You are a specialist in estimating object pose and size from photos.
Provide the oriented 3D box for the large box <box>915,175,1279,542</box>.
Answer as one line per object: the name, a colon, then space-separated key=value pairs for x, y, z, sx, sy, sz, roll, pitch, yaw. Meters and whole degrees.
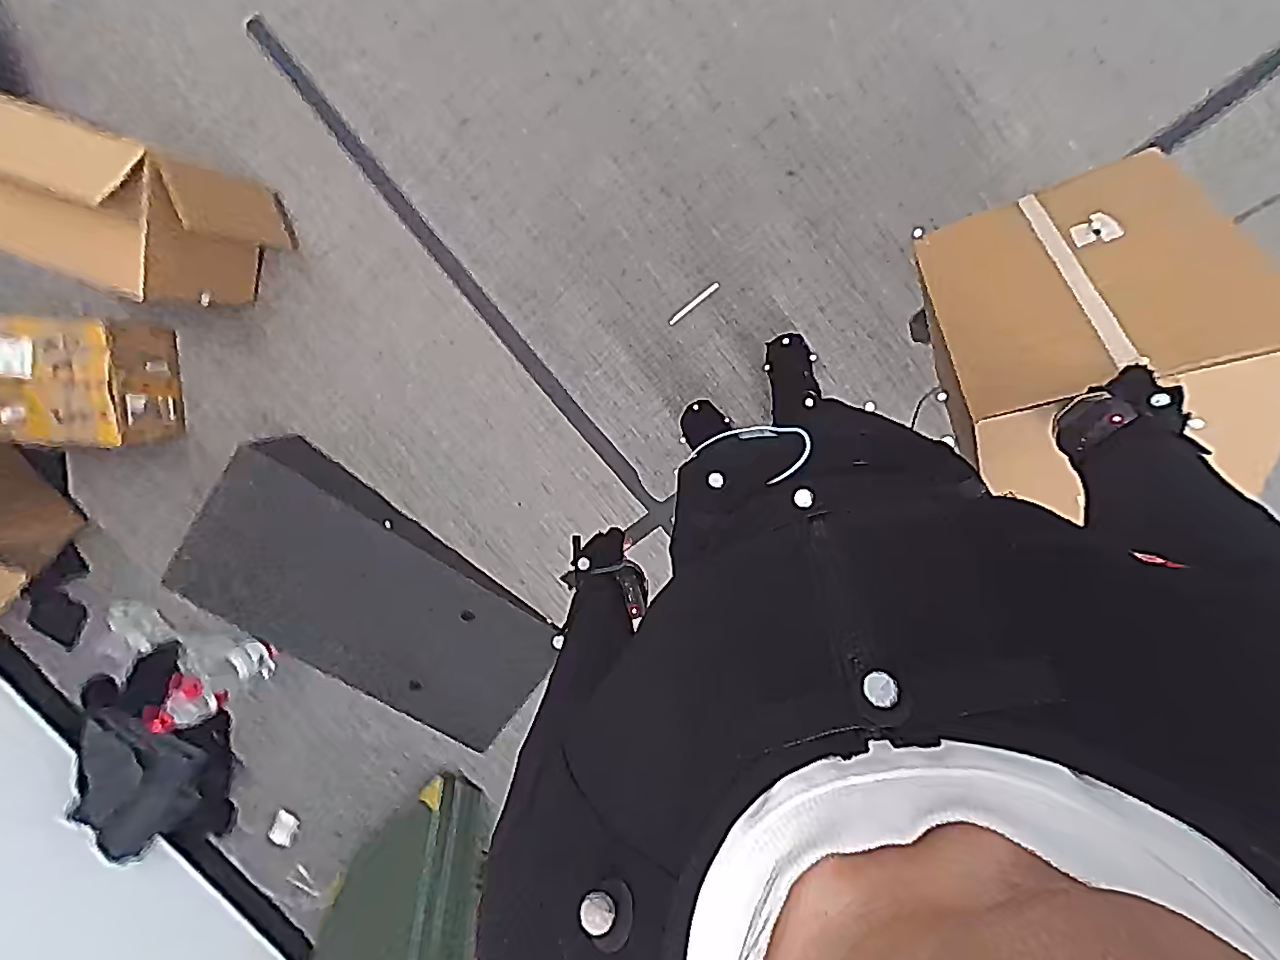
large box: x=0.644 y=-0.168 z=0.824 sx=0.320 sy=0.408 sz=0.320 roll=-12 pitch=138 yaw=25
